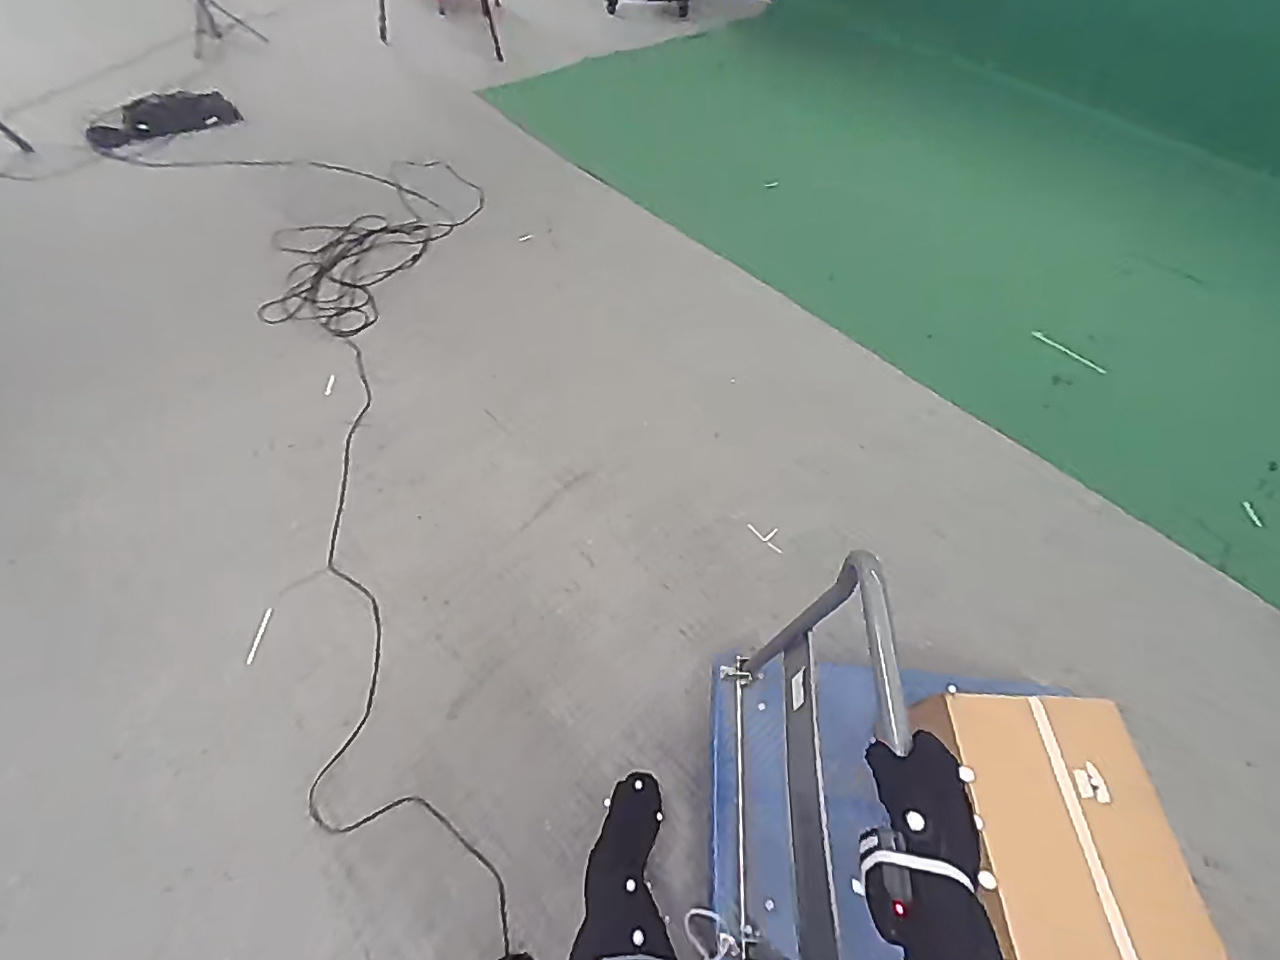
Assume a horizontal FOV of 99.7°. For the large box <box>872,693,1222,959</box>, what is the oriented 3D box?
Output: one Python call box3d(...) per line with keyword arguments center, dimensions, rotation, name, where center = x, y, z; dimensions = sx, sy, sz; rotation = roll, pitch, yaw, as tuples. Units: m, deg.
box3d(center=(0.667, 0.632, 0.973), dimensions=(0.320, 0.320, 0.408), rotation=(4, 55, -3), name="large box")
